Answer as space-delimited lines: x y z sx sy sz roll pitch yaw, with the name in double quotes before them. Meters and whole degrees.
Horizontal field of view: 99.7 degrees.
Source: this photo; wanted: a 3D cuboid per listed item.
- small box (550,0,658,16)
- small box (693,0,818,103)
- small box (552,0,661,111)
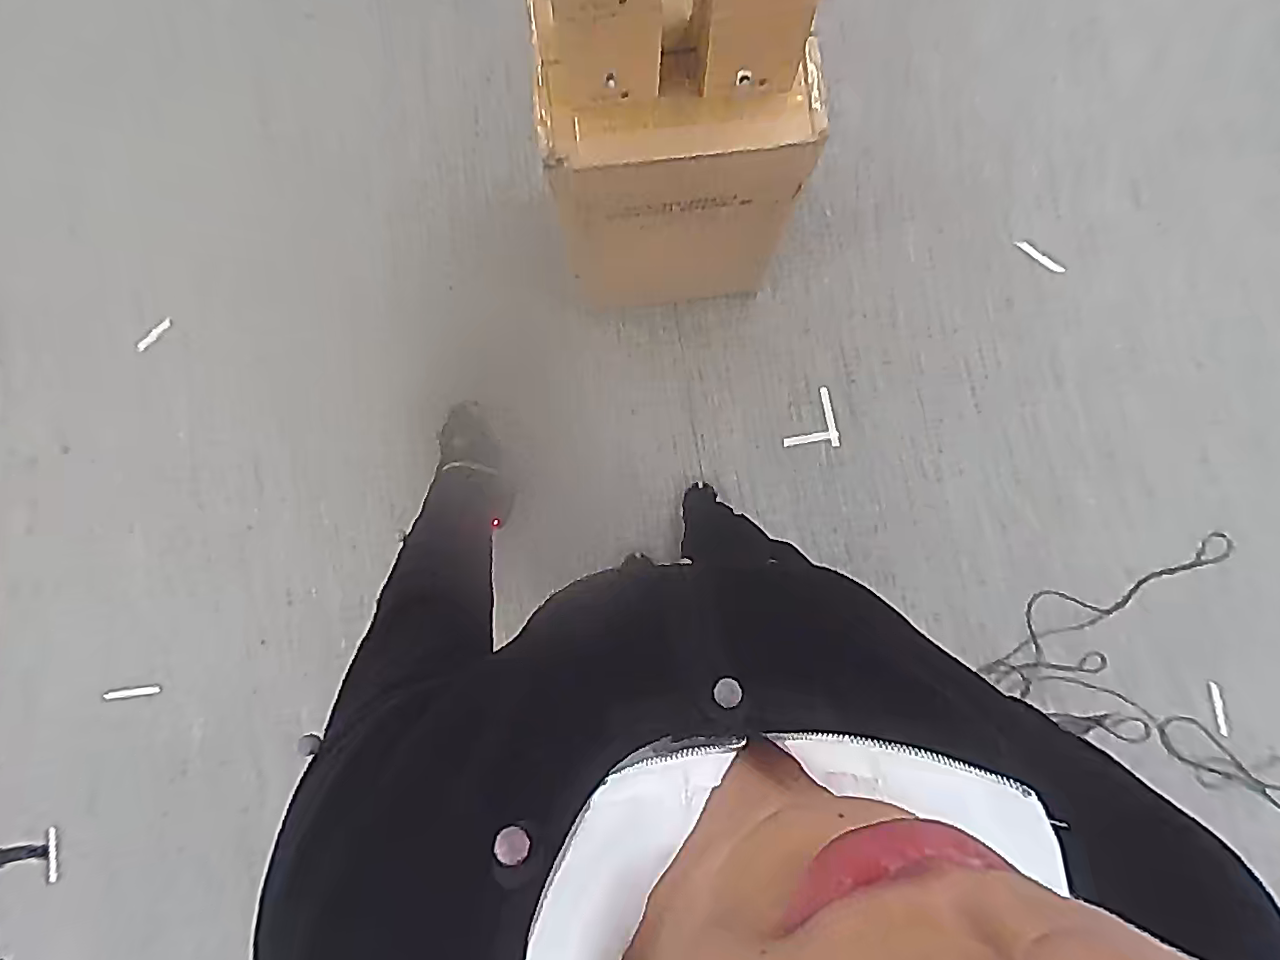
"small box" -0.062 -0.789 0.744 0.168 0.176 0.179 -10 84 -1
"small box" 0.182 -0.785 0.909 0.168 0.176 0.179 -8 85 2
"small box" -0.061 -0.769 0.908 0.168 0.176 0.179 -8 84 -1
